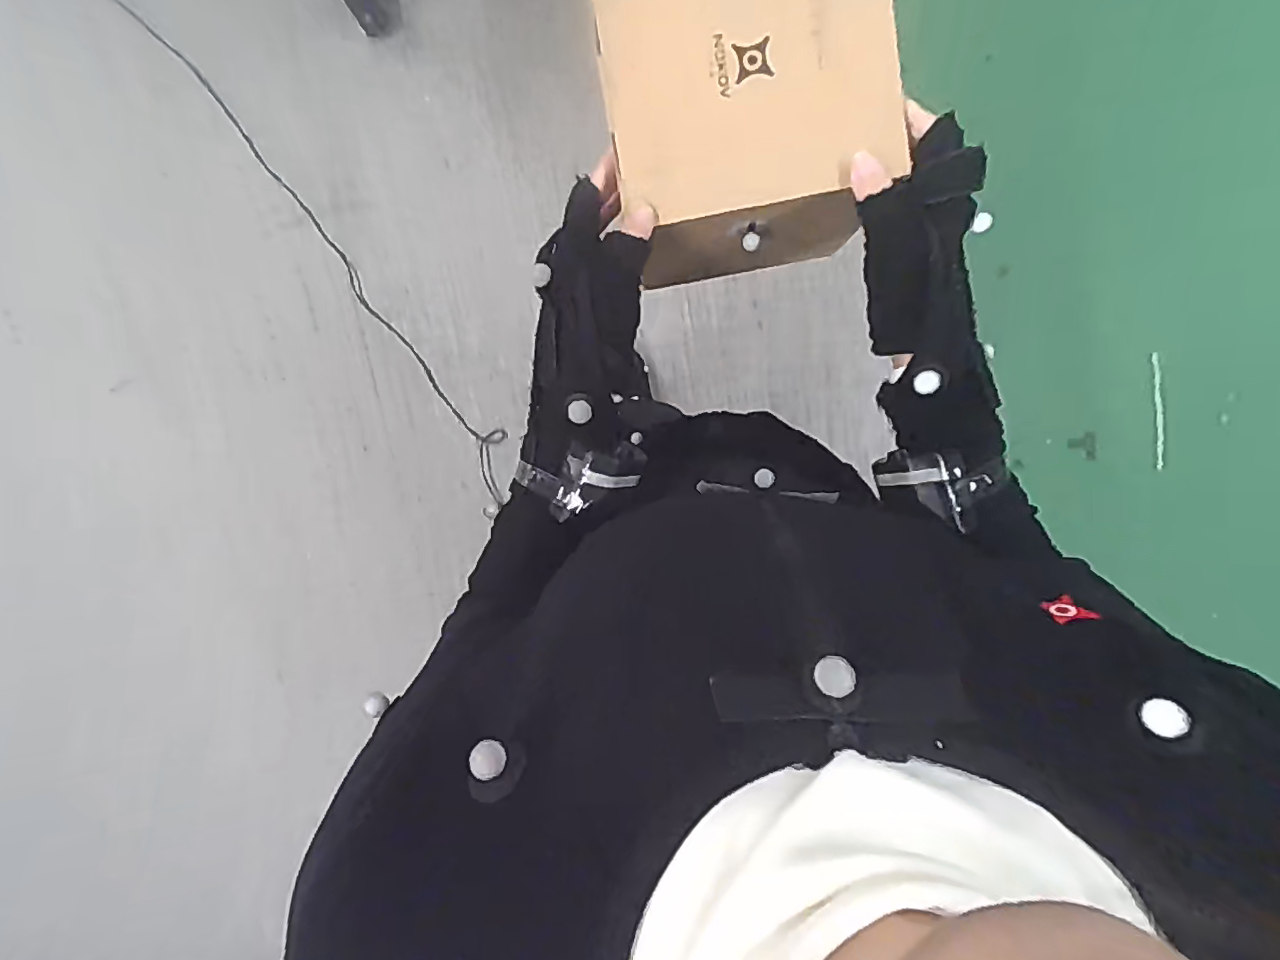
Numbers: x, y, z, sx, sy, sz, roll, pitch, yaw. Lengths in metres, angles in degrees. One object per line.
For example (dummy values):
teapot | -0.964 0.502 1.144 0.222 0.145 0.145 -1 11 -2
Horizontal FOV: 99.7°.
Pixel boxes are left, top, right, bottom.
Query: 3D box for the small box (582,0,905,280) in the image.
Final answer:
small box | 0.065 -0.260 0.399 0.179 0.176 0.168 -10 97 4
